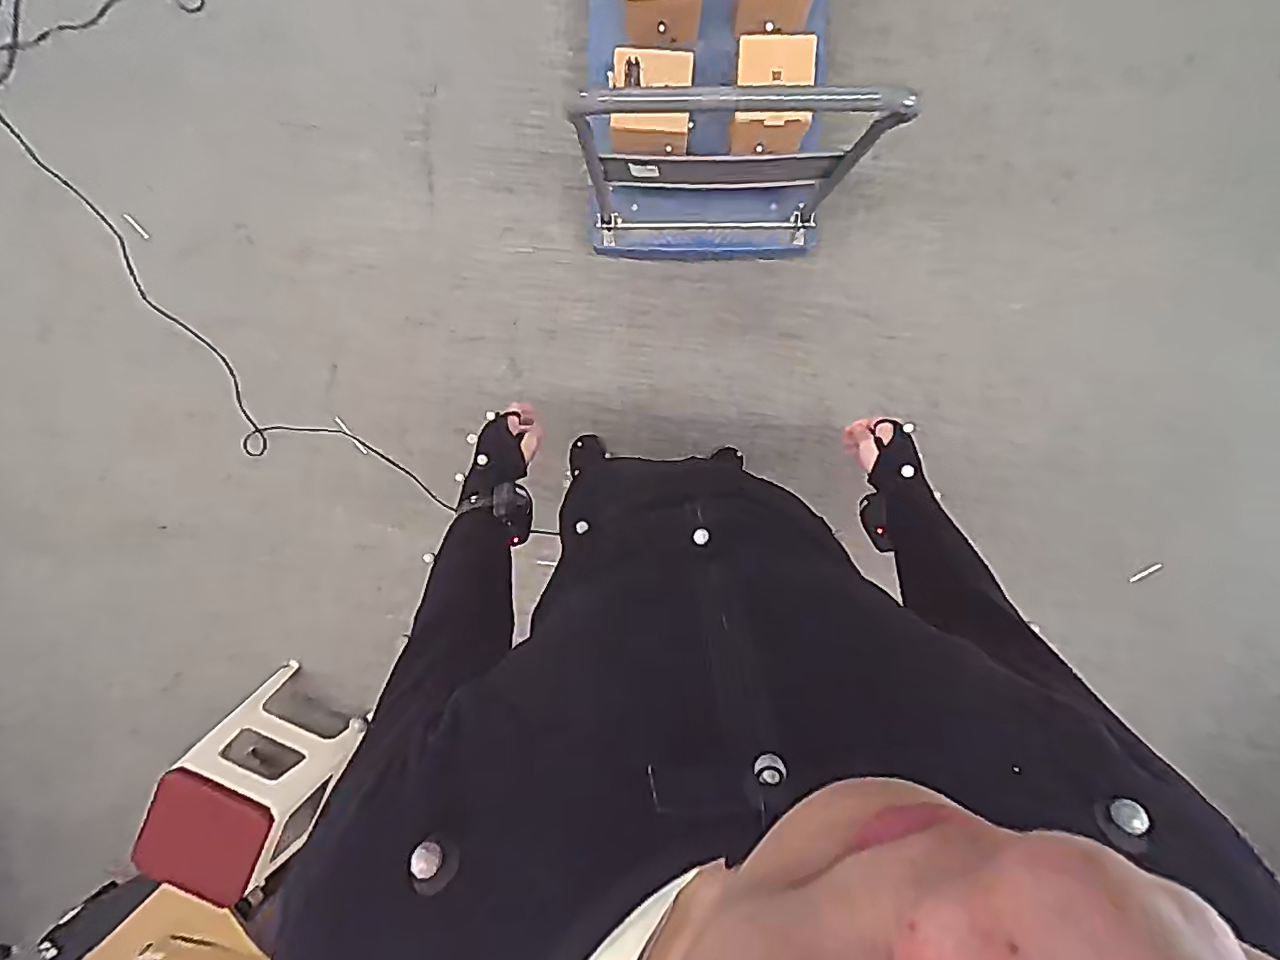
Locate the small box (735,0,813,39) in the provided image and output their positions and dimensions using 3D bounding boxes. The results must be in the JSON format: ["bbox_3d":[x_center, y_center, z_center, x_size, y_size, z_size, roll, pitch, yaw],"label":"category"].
[{"bbox_3d":[0.306,-1.161,1.232,0.168,0.176,0.179,-3,97,4],"label":"small box"}]

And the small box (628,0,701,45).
[{"bbox_3d":[0.055,-1.146,1.248,0.168,0.176,0.179,-3,96,3],"label":"small box"}]

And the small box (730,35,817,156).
[{"bbox_3d":[0.305,-0.892,1.265,0.168,0.176,0.179,1,97,3],"label":"small box"}]
